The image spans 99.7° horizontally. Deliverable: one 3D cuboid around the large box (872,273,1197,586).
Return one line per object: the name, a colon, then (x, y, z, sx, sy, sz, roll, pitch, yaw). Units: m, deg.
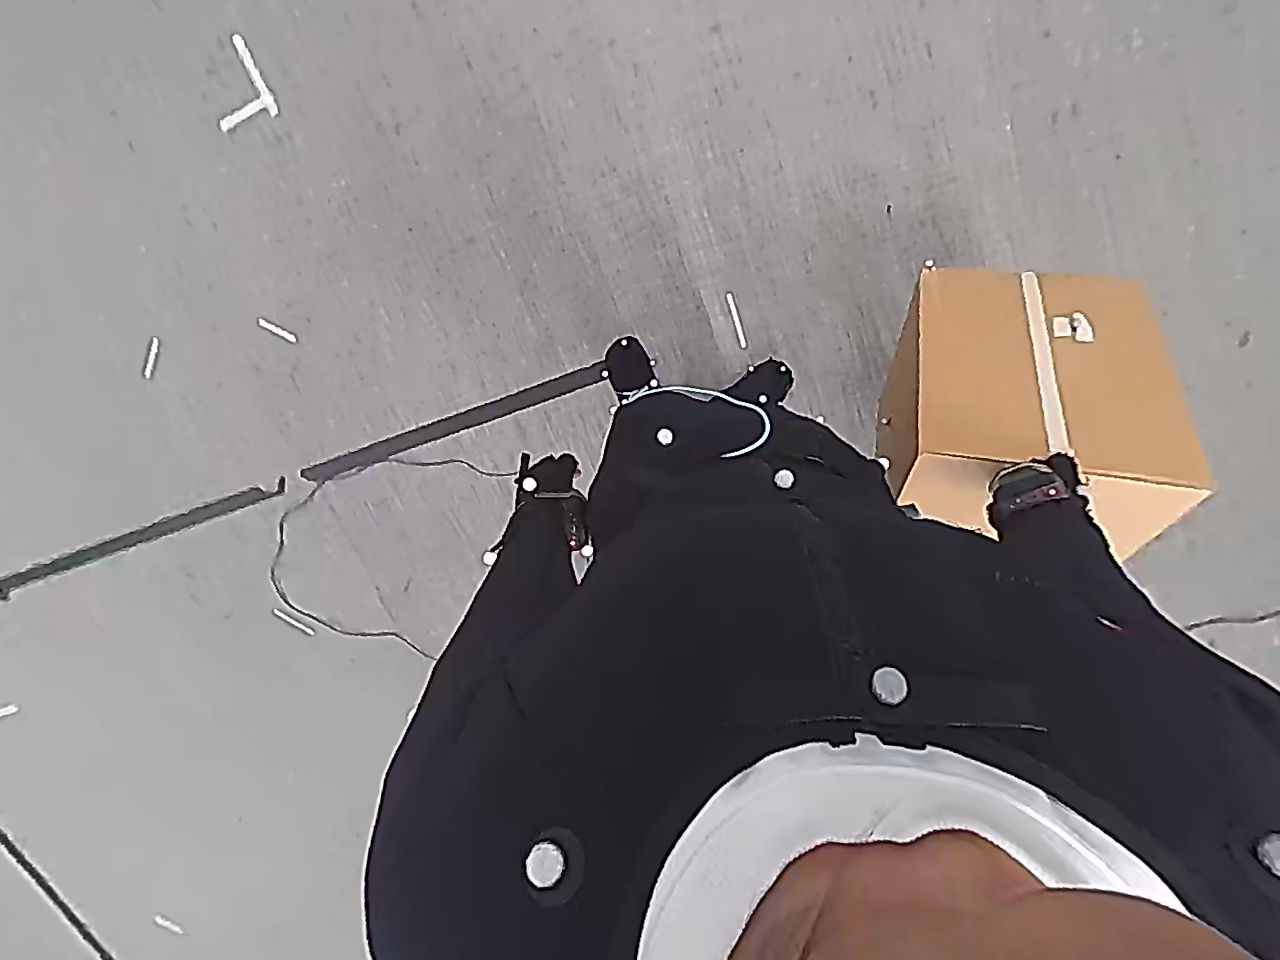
large box: (0.578, -0.086, 0.898, 0.320, 0.408, 0.320, 9, 145, 14)
